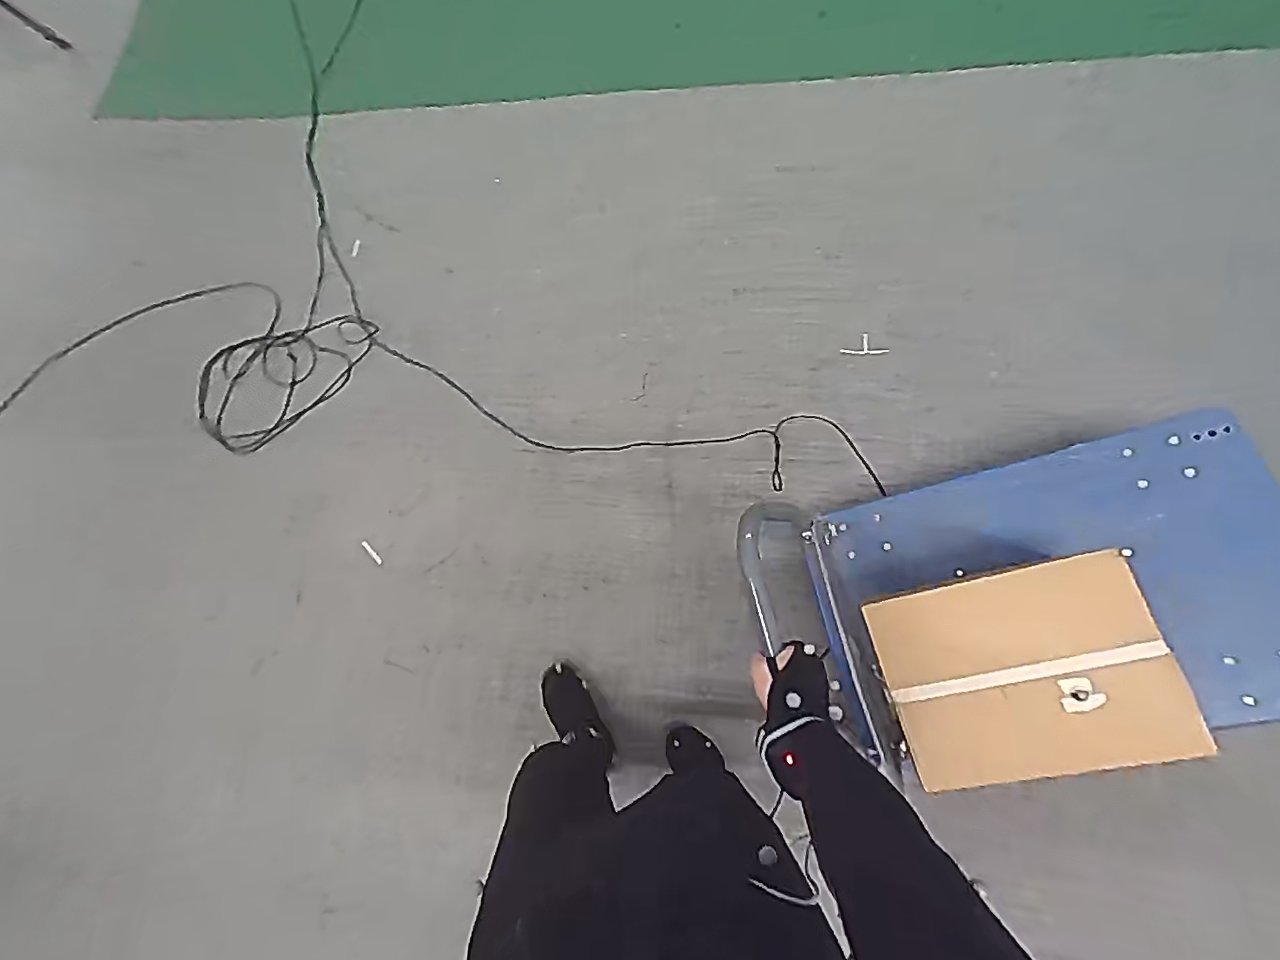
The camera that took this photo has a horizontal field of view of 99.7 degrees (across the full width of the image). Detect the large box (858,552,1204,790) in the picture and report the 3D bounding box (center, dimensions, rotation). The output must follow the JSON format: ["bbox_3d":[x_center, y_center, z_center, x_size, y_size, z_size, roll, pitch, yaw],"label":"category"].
[{"bbox_3d":[0.669,0.348,1.026,0.408,0.320,0.320,-18,74,17],"label":"large box"}]
